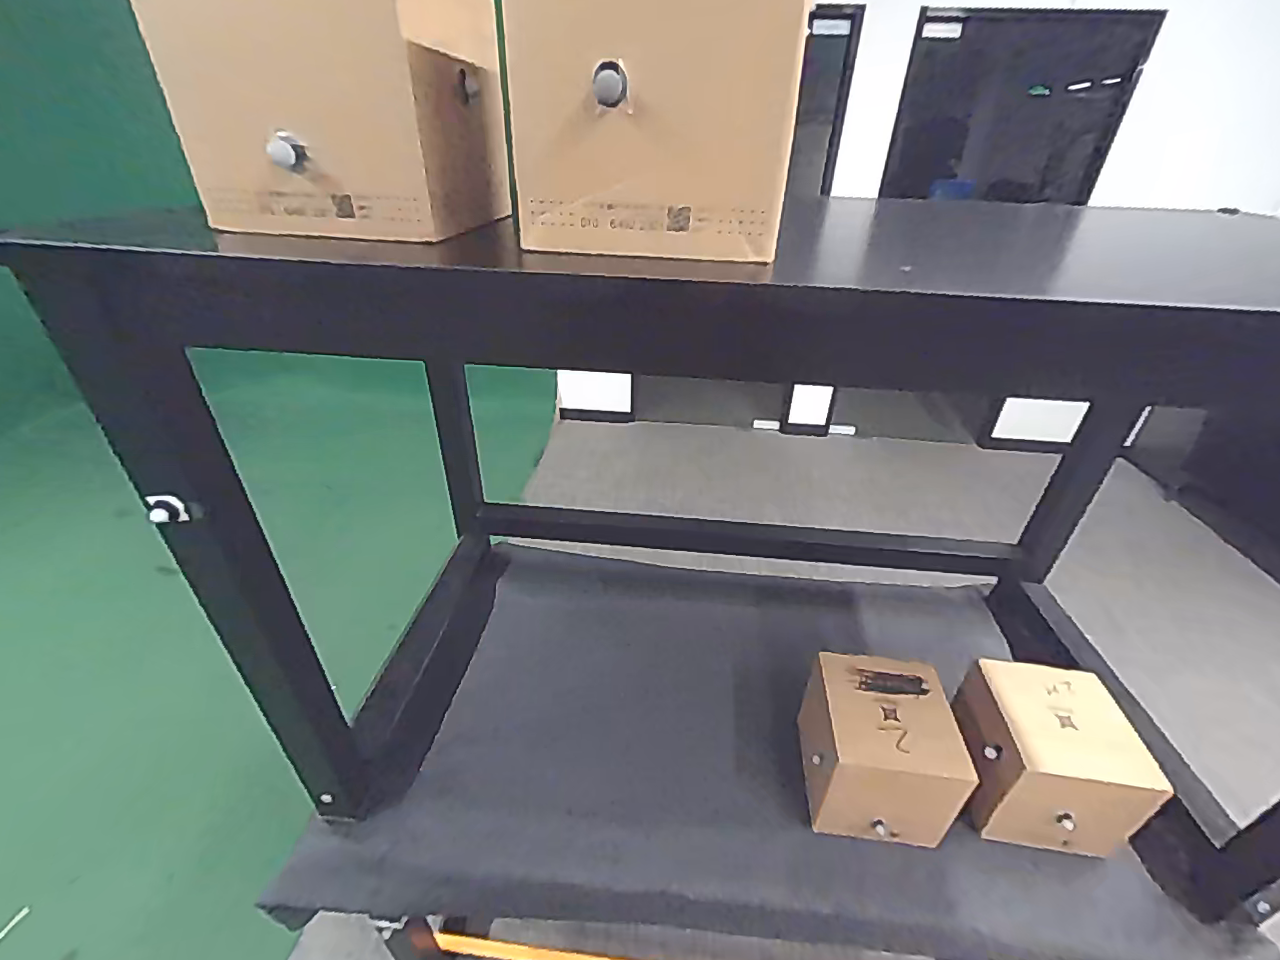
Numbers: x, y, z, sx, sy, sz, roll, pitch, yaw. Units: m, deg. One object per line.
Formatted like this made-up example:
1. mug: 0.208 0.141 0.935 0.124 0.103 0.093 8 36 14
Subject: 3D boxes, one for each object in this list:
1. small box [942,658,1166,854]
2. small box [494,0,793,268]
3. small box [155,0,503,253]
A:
1. small box: 0.555 0.384 0.759 0.168 0.176 0.179 6 32 7
2. small box: 0.011 -0.255 0.385 0.168 0.176 0.179 5 32 5
3. small box: -0.211 -0.282 0.412 0.168 0.176 0.179 5 33 5
